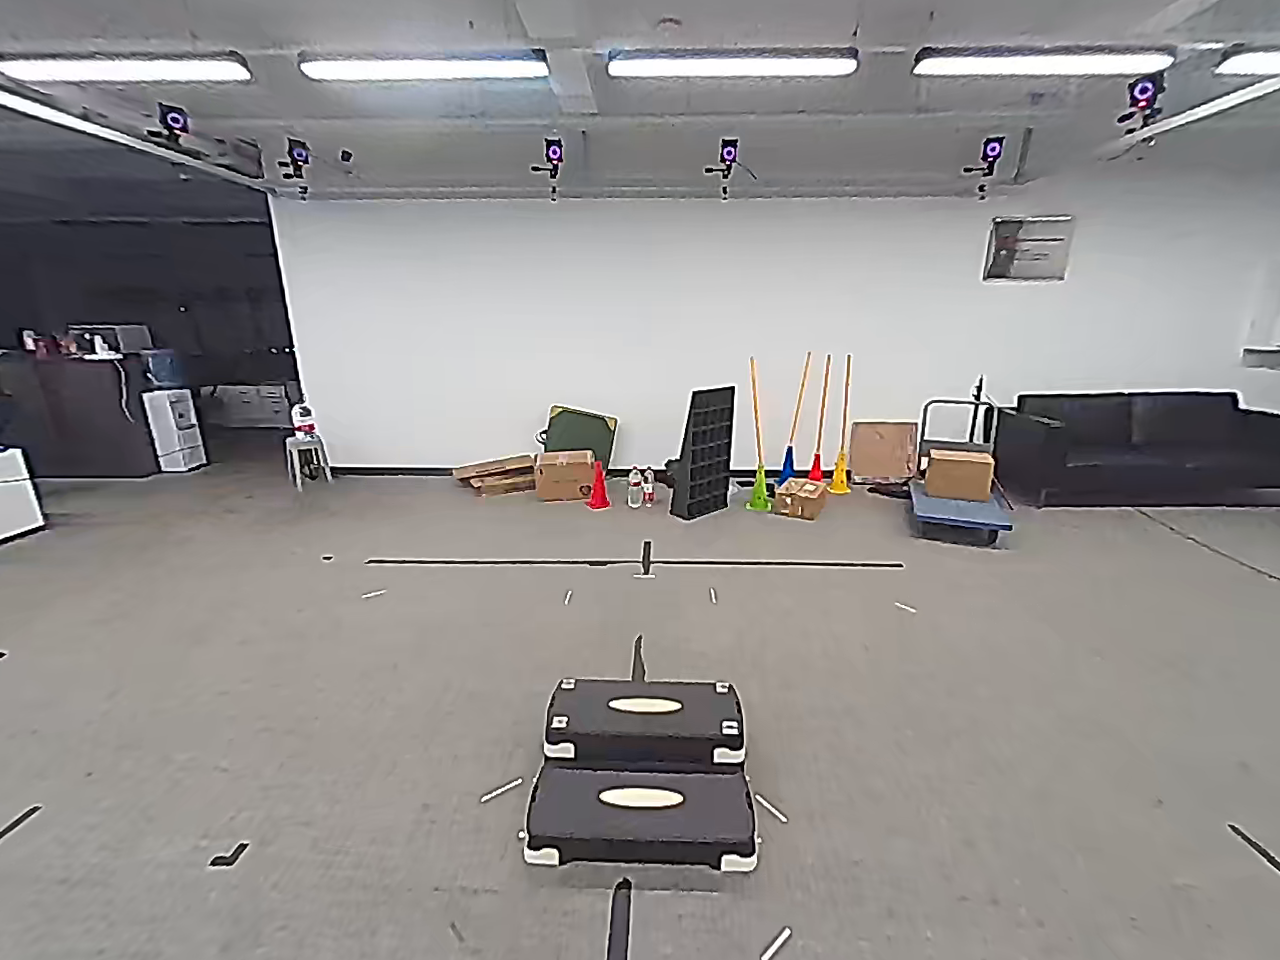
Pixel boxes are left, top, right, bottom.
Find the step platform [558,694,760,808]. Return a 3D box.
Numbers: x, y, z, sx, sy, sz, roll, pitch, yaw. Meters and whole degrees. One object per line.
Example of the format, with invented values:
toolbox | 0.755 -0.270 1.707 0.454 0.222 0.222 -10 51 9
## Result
step platform | 0.067 0.922 1.873 0.684 0.204 0.286 2 15 6
